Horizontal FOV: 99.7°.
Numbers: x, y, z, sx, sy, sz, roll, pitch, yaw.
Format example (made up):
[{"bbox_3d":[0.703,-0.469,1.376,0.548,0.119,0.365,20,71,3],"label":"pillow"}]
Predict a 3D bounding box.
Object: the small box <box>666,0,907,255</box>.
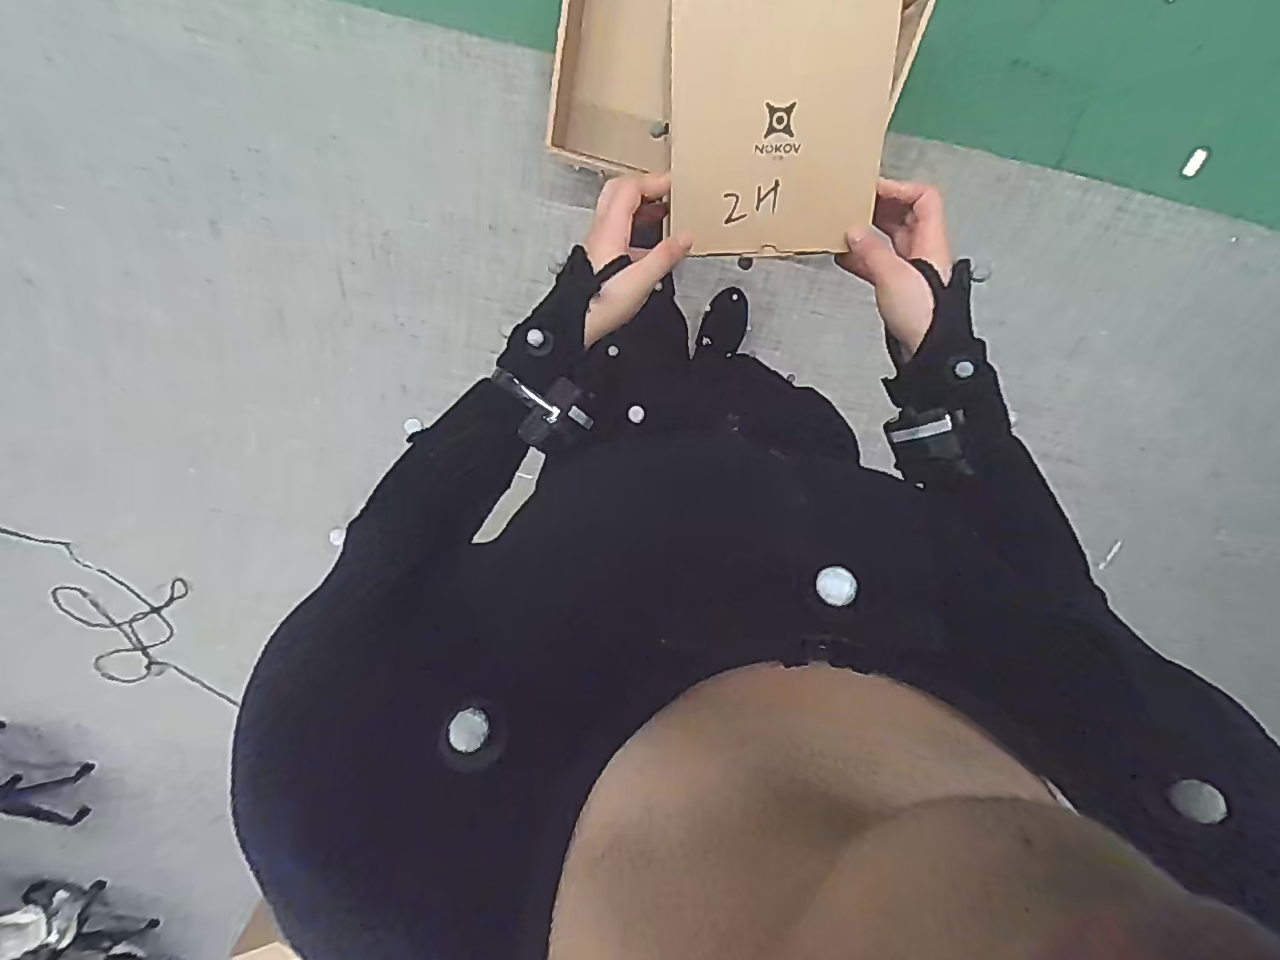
[{"bbox_3d":[0.108,-0.298,0.484,0.168,0.176,0.179,0,114,1],"label":"small box"}]
